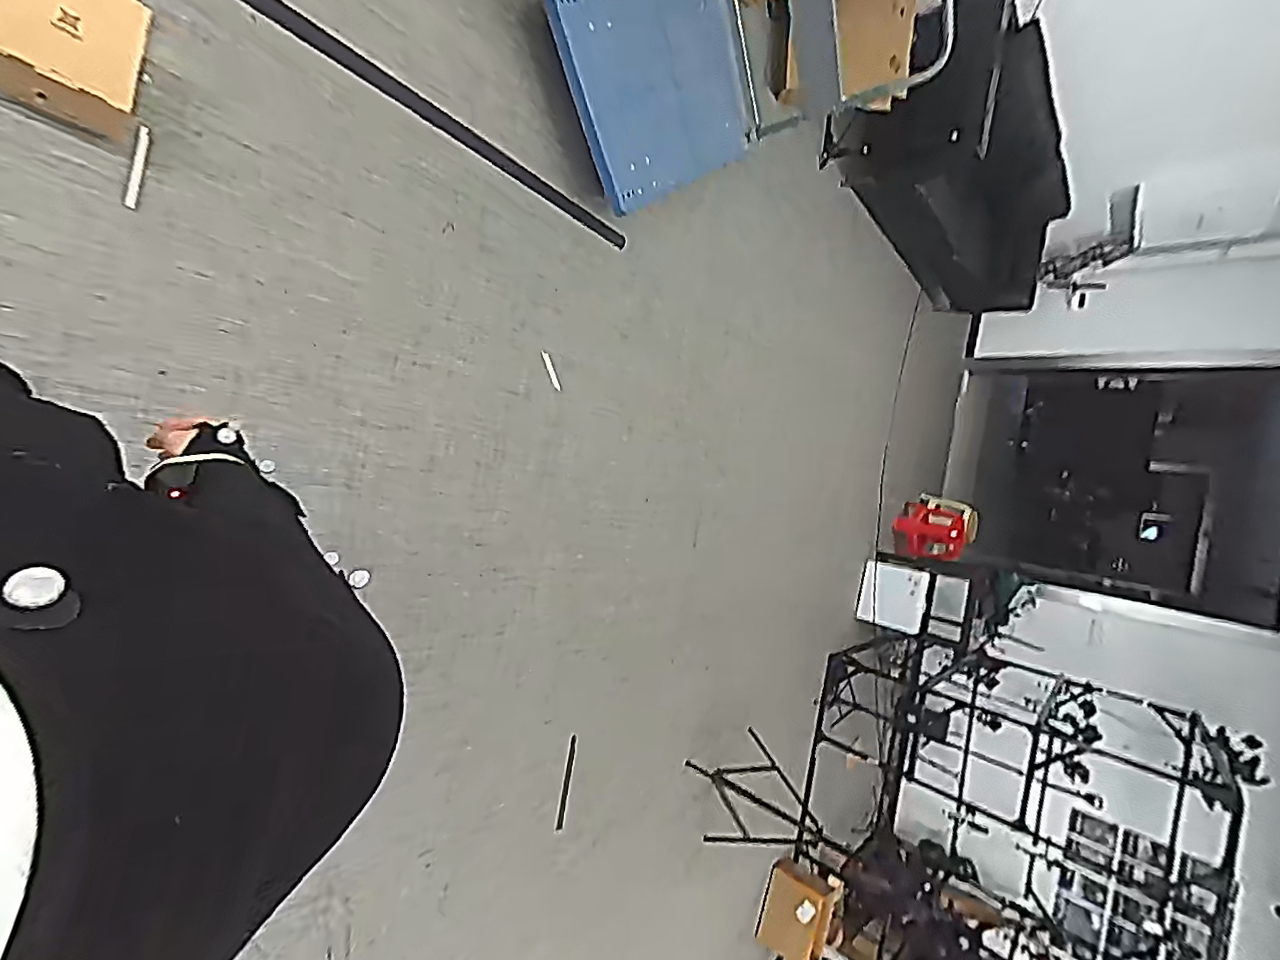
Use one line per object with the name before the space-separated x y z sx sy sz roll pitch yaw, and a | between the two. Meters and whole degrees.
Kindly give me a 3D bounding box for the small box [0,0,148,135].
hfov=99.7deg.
small box | -0.918 -0.694 0.854 0.168 0.176 0.179 12 89 -50
